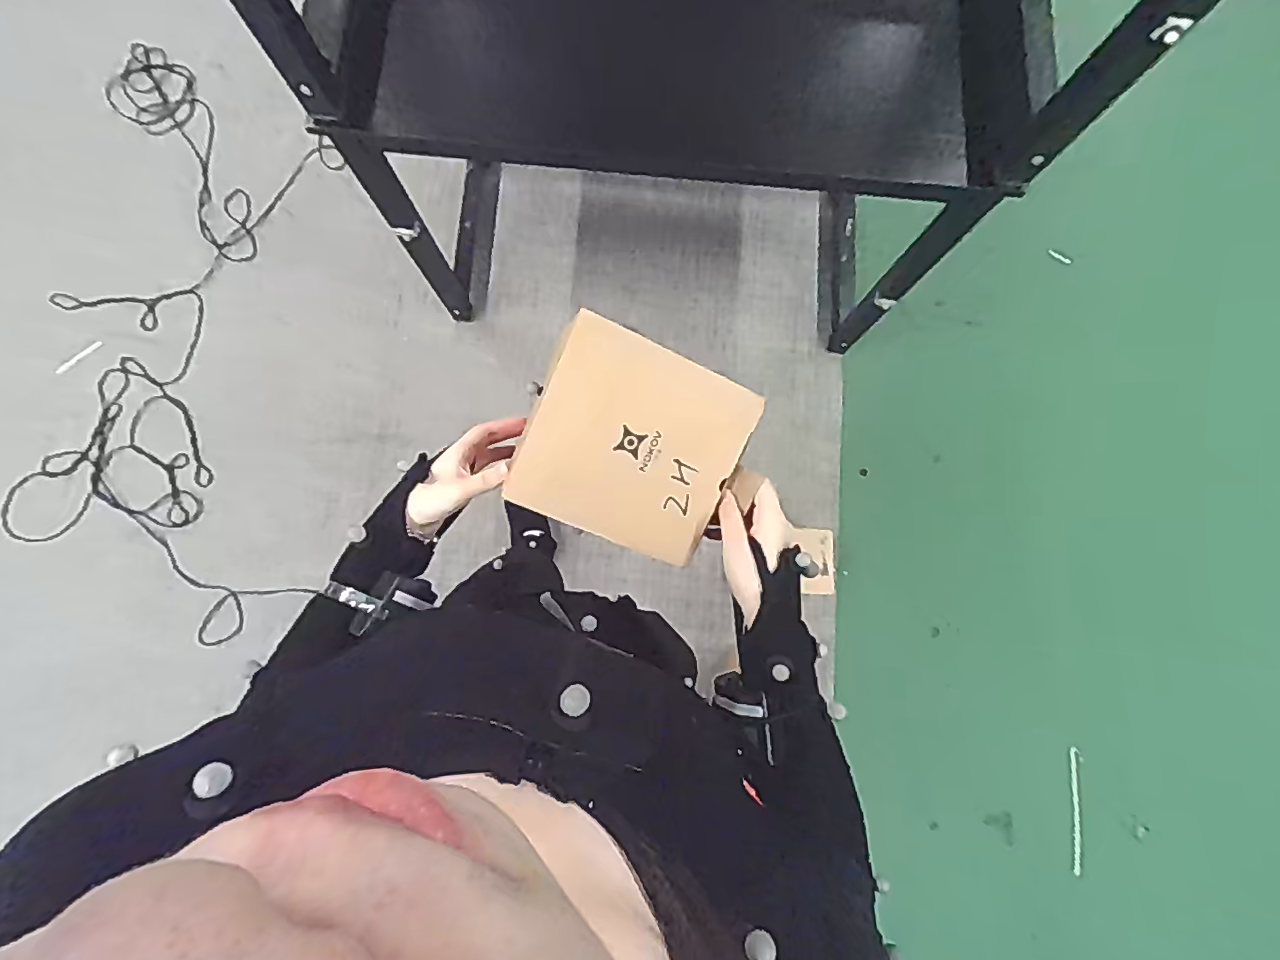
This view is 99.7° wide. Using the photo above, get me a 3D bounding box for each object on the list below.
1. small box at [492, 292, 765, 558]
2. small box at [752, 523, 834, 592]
[{"bbox_3d":[-0.021,-0.053,0.510,0.179,0.176,0.168,23,98,-15],"label":"small box"},{"bbox_3d":[0.399,0.207,1.430,0.179,0.176,0.168,3,81,-1],"label":"small box"}]
